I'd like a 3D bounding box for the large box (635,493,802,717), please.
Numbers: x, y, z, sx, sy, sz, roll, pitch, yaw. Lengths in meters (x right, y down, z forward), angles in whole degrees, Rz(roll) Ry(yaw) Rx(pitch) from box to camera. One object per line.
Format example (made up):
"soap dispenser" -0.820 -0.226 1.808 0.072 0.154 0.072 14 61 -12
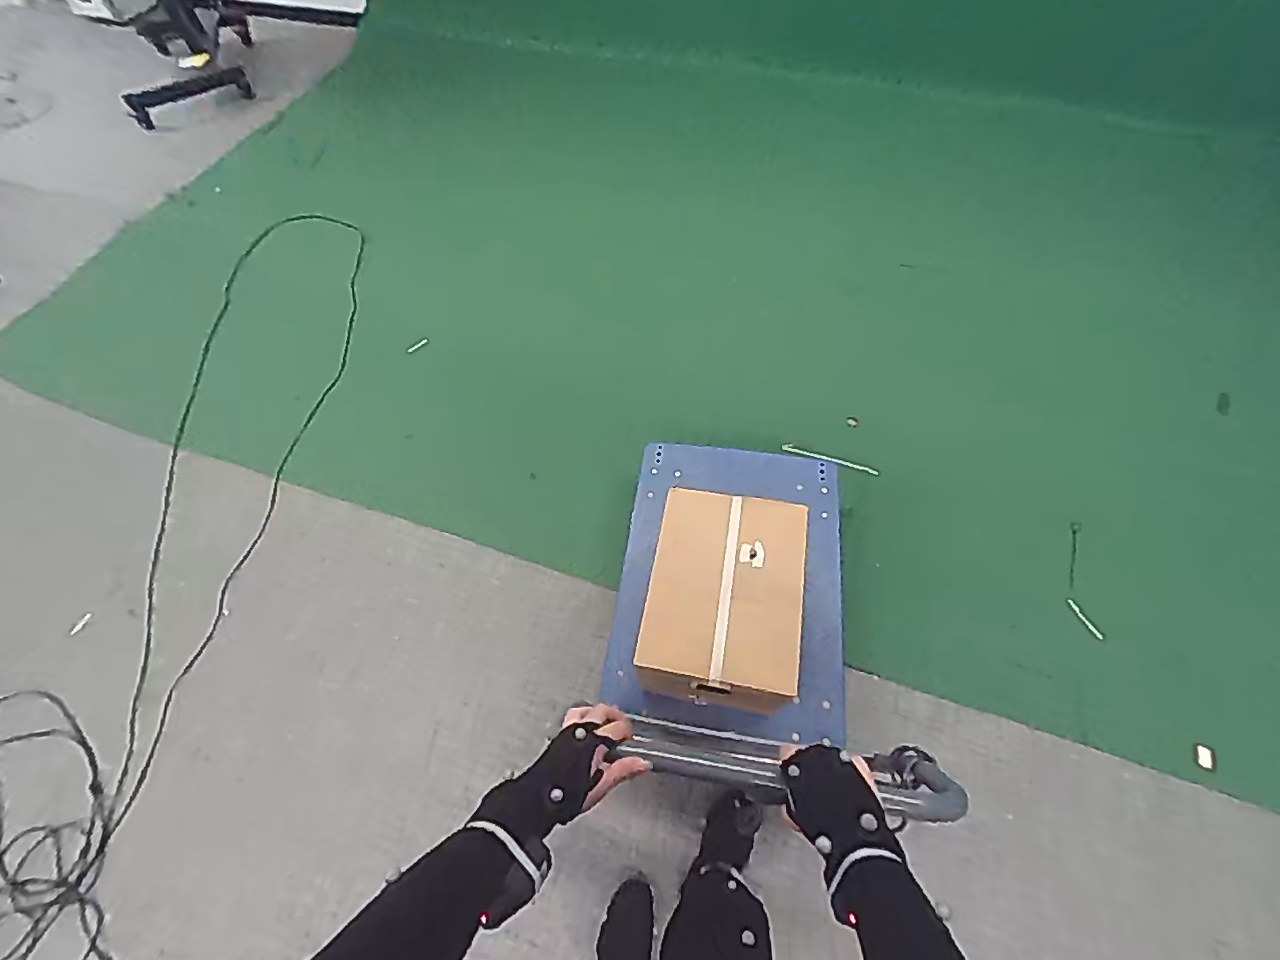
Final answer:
"large box" 0.183 0.292 1.249 0.320 0.320 0.408 8 60 8
